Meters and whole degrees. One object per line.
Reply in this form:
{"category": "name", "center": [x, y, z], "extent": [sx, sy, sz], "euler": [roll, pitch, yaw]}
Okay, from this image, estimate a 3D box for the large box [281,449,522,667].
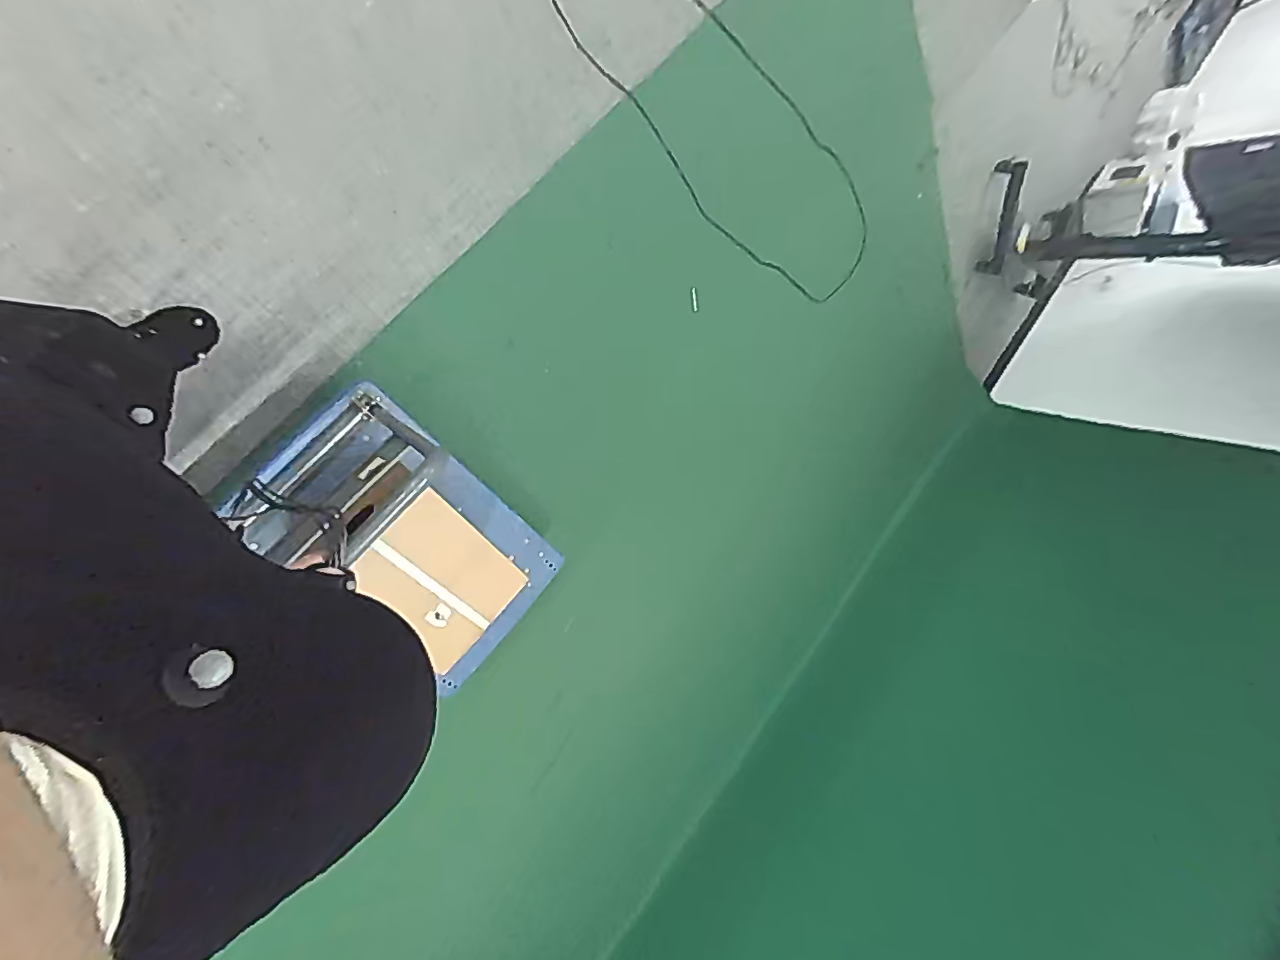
{"category": "large box", "center": [-0.585, 0.188, 1.349], "extent": [0.320, 0.320, 0.408], "euler": [-48, 132, -16]}
